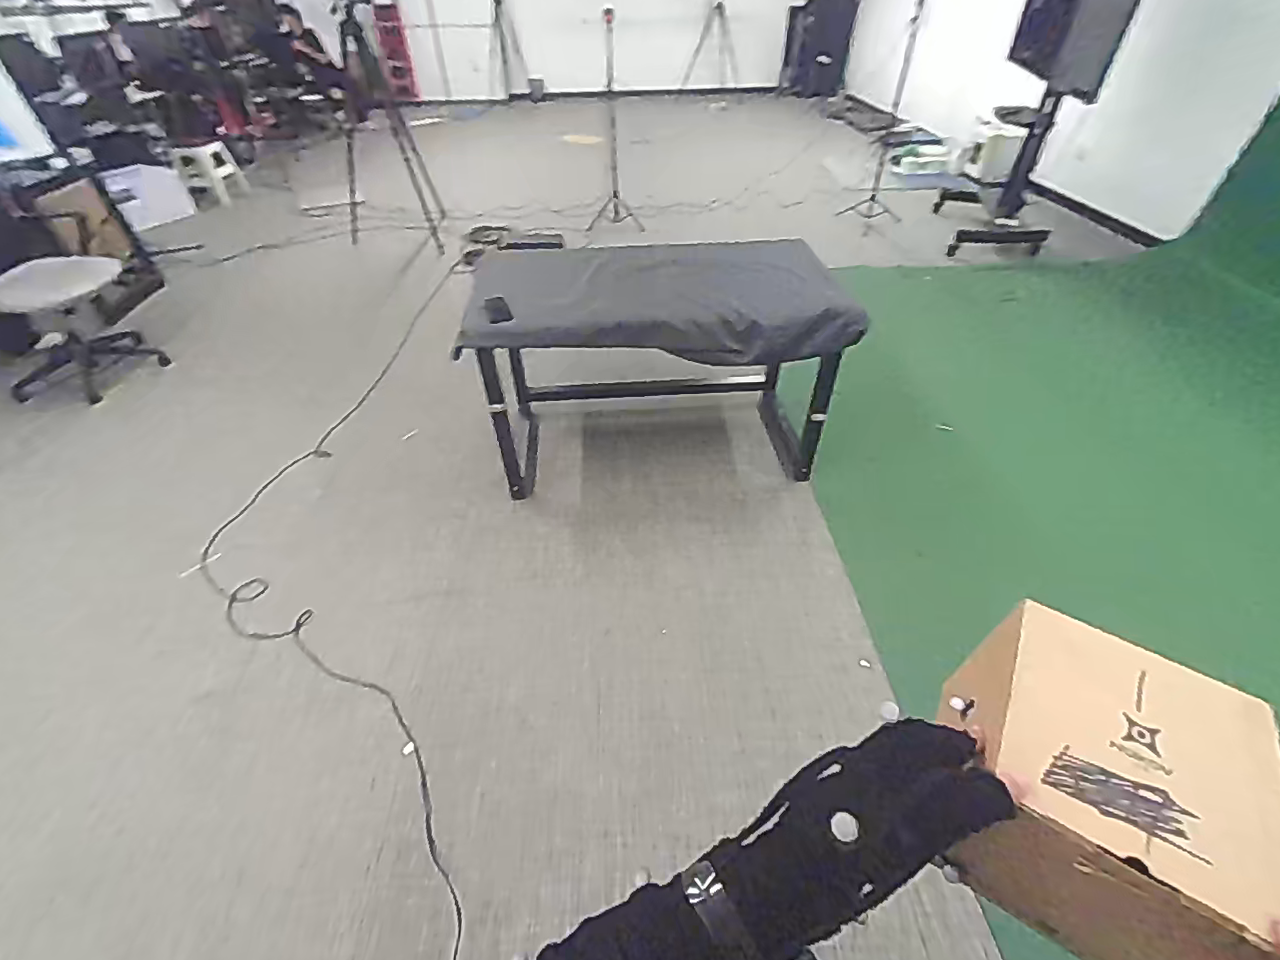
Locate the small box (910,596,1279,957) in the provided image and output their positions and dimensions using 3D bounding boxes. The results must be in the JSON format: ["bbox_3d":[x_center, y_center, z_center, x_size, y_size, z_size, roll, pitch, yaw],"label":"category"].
[{"bbox_3d":[0.344,0.237,0.440,0.168,0.176,0.179,25,49,22],"label":"small box"}]
